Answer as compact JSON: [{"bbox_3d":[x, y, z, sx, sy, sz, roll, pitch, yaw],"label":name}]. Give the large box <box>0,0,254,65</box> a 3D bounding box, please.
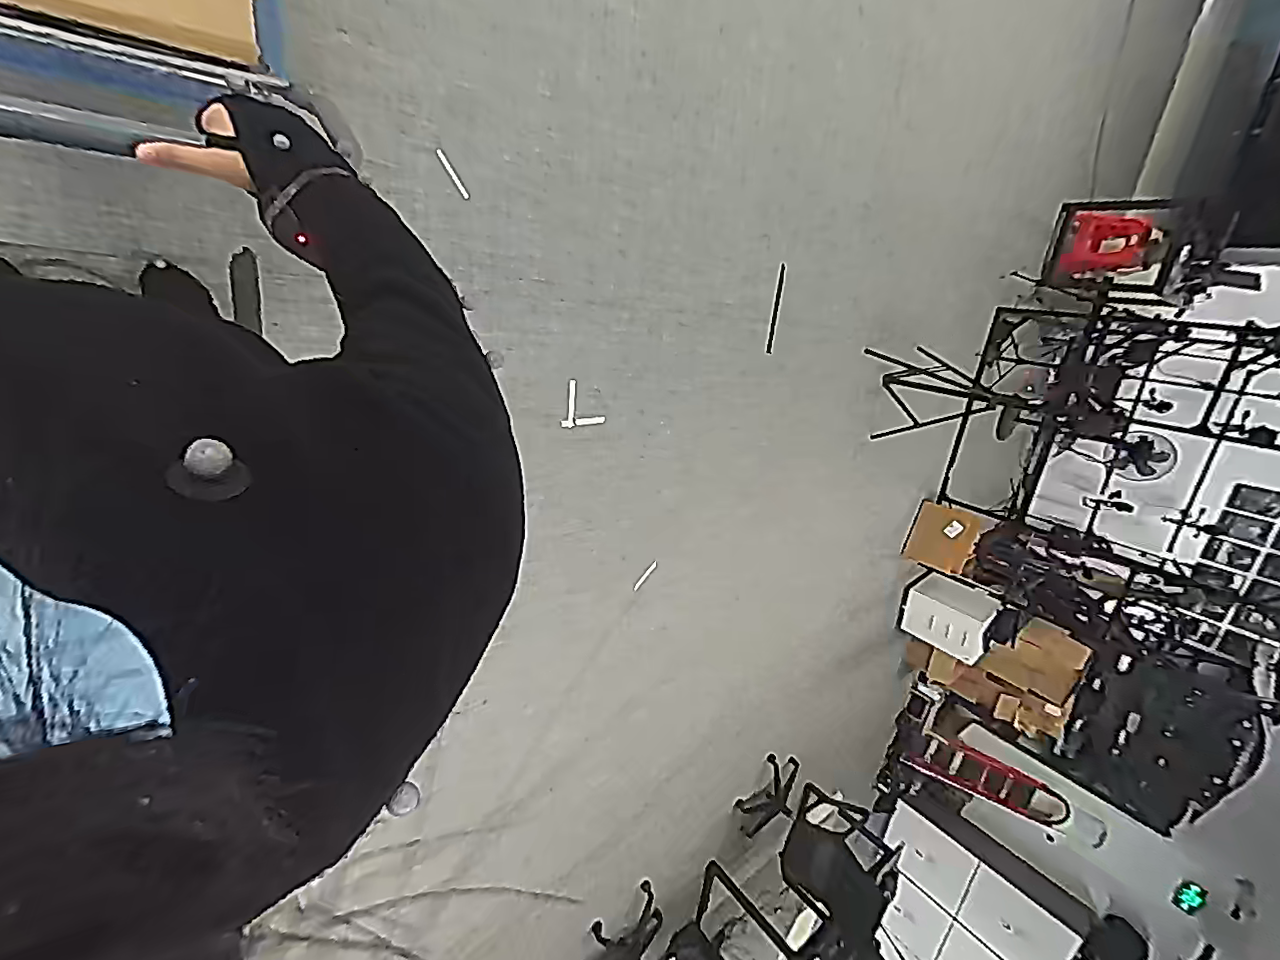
[{"bbox_3d":[-0.758,-0.750,0.657,0.408,0.320,0.320,-13,127,-39],"label":"large box"}]
